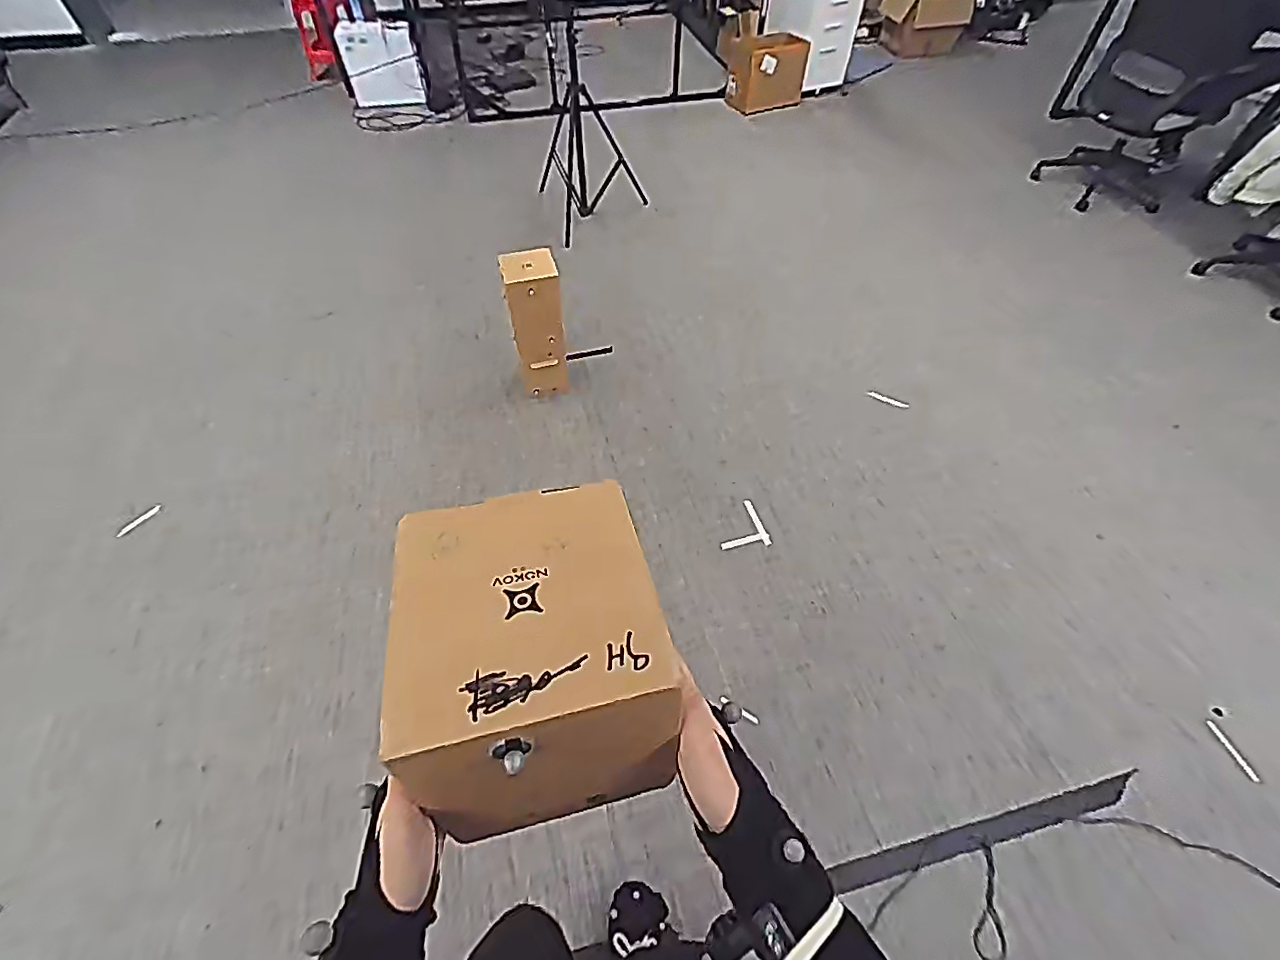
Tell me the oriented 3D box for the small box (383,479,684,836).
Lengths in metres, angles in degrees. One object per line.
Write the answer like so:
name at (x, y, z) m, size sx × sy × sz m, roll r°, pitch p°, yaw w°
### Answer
small box at (-0.073, 0.128, 0.406) m, size 0.168 × 0.176 × 0.179 m, roll -11°, pitch 44°, yaw -10°

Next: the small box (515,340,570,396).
small box at (-0.369, -0.438, 2.066) m, size 0.168 × 0.176 × 0.179 m, roll -14°, pitch 54°, yaw -10°

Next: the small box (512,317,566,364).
small box at (-0.367, -0.535, 1.936) m, size 0.168 × 0.176 × 0.179 m, roll -14°, pitch 54°, yaw -11°

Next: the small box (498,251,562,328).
small box at (-0.363, -0.633, 1.806) m, size 0.179 × 0.176 × 0.168 m, roll -14°, pitch 56°, yaw -11°
